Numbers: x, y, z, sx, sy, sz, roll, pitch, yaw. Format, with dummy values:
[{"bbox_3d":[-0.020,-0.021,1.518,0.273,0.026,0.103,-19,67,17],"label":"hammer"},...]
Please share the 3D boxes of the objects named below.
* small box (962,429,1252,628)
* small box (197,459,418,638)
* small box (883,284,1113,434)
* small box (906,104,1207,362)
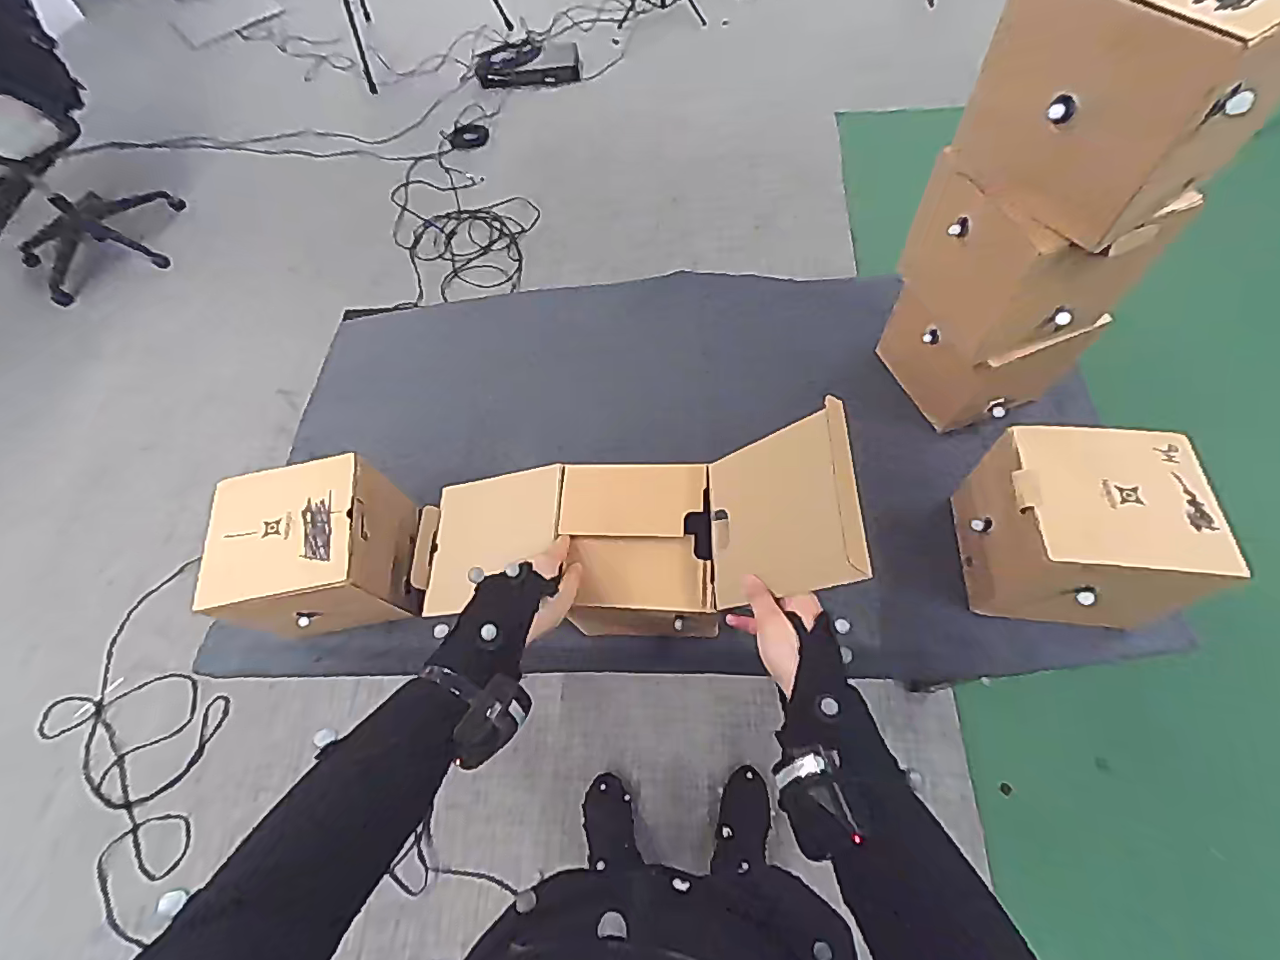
[{"bbox_3d":[0.490,0.060,0.611,0.179,0.176,0.168,4,60,9],"label":"small box"},{"bbox_3d":[-0.402,0.095,0.692,0.179,0.176,0.168,-11,63,1],"label":"small box"},{"bbox_3d":[0.469,-0.194,0.747,0.168,0.176,0.179,-21,64,-2],"label":"small box"},{"bbox_3d":[0.430,-0.266,0.603,0.168,0.176,0.179,-19,63,0],"label":"small box"}]
